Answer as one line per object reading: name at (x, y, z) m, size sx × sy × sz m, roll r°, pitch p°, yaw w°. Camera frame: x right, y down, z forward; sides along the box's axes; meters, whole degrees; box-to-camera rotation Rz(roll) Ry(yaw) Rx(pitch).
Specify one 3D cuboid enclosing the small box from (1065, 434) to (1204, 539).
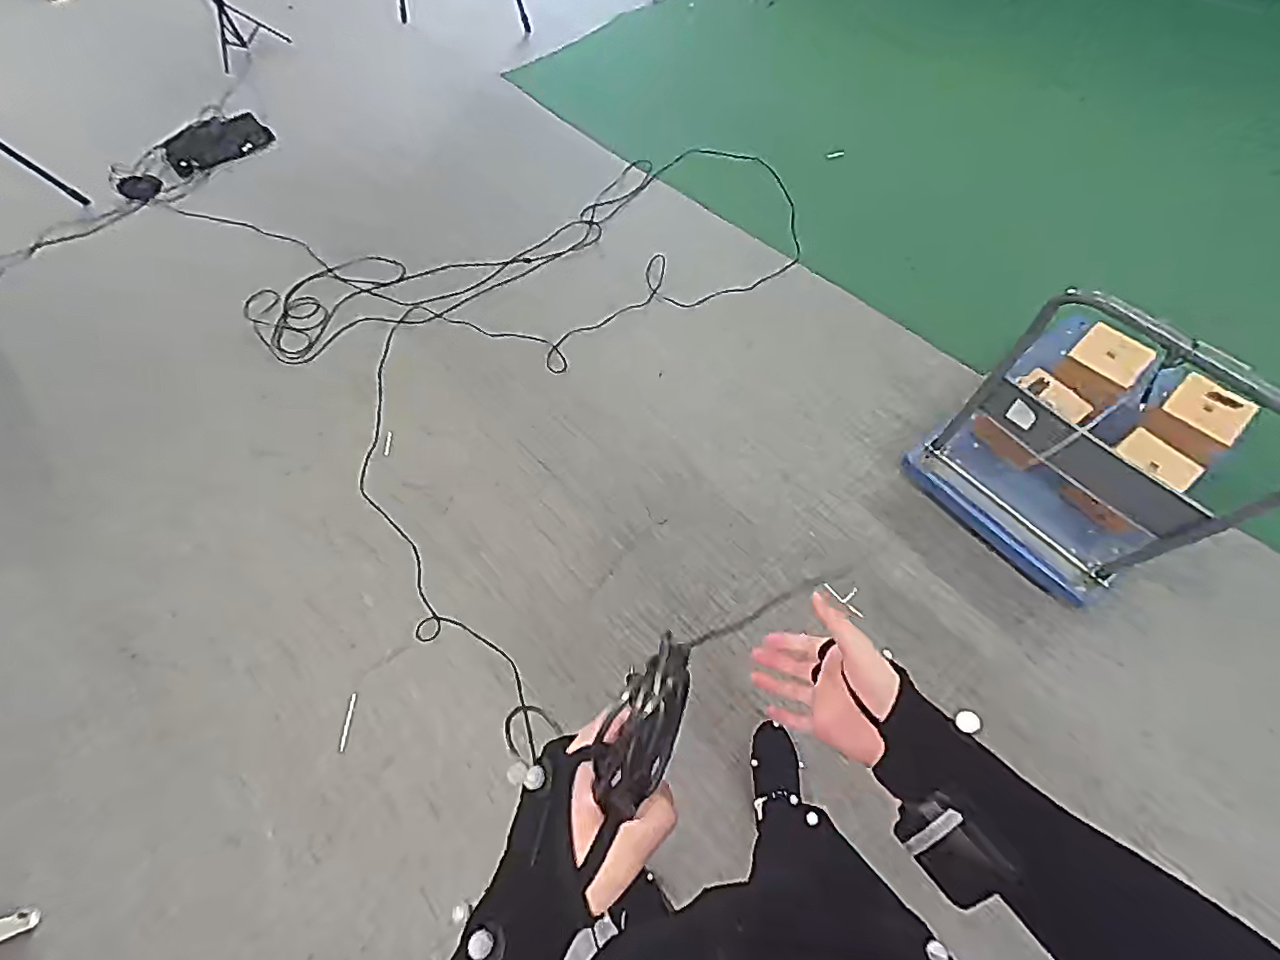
small box at (1.261, 0.020, 1.394) m, size 0.179 × 0.176 × 0.168 m, roll -35°, pitch 65°, yaw -14°

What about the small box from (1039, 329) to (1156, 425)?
small box at (1.304, -0.292, 1.559) m, size 0.179 × 0.176 × 0.168 m, roll -39°, pitch 67°, yaw -16°

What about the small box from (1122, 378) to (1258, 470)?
small box at (1.473, -0.133, 1.461) m, size 0.179 × 0.176 × 0.168 m, roll -40°, pitch 65°, yaw -15°
